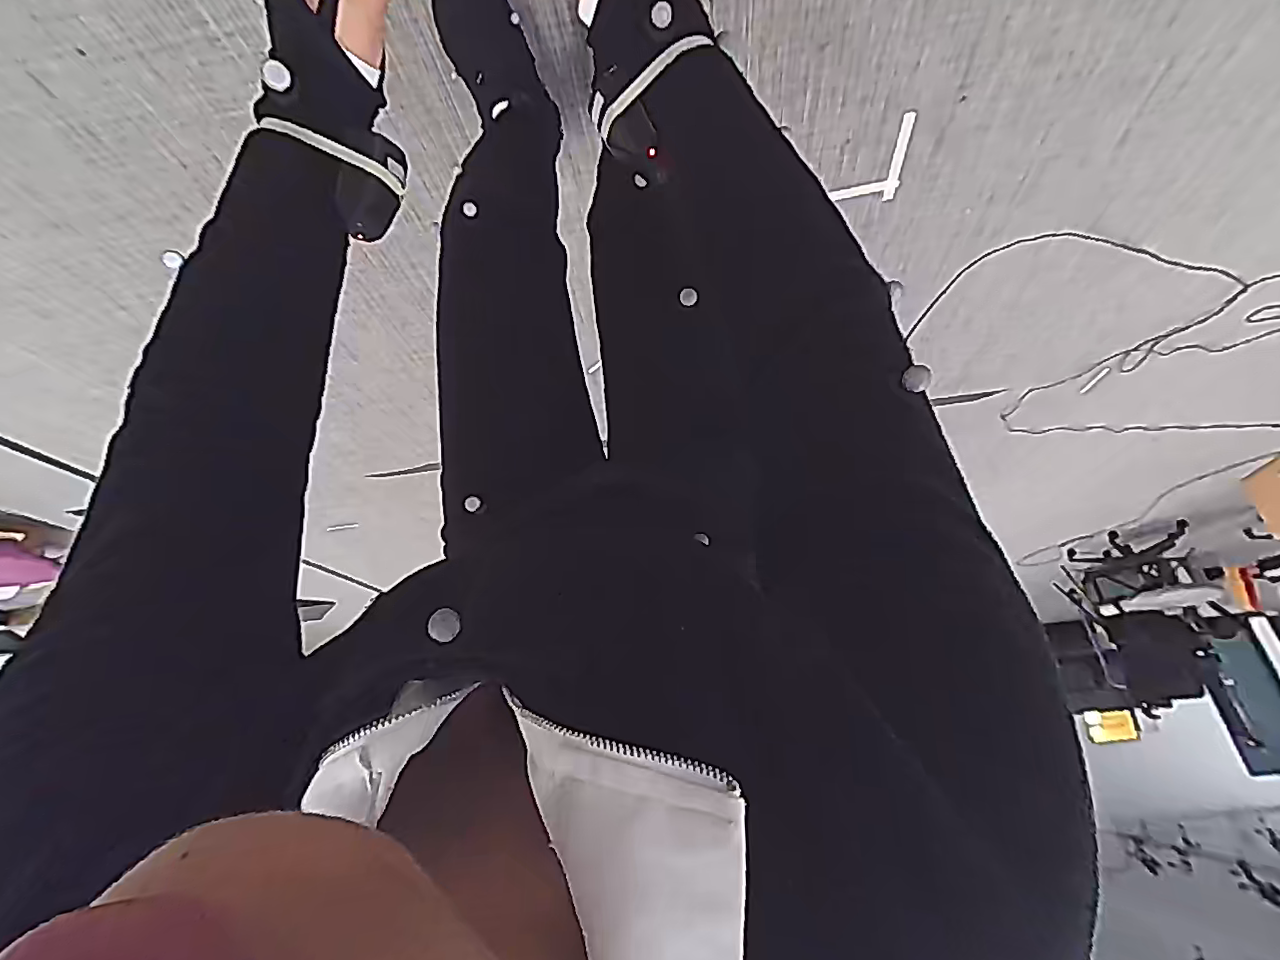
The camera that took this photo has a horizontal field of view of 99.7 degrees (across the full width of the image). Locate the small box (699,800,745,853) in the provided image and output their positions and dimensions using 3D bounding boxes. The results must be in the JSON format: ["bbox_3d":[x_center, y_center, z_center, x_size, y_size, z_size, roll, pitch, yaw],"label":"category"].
[{"bbox_3d":[0.353,1.478,2.312,0.168,0.176,0.179,-10,156,12],"label":"small box"}]
